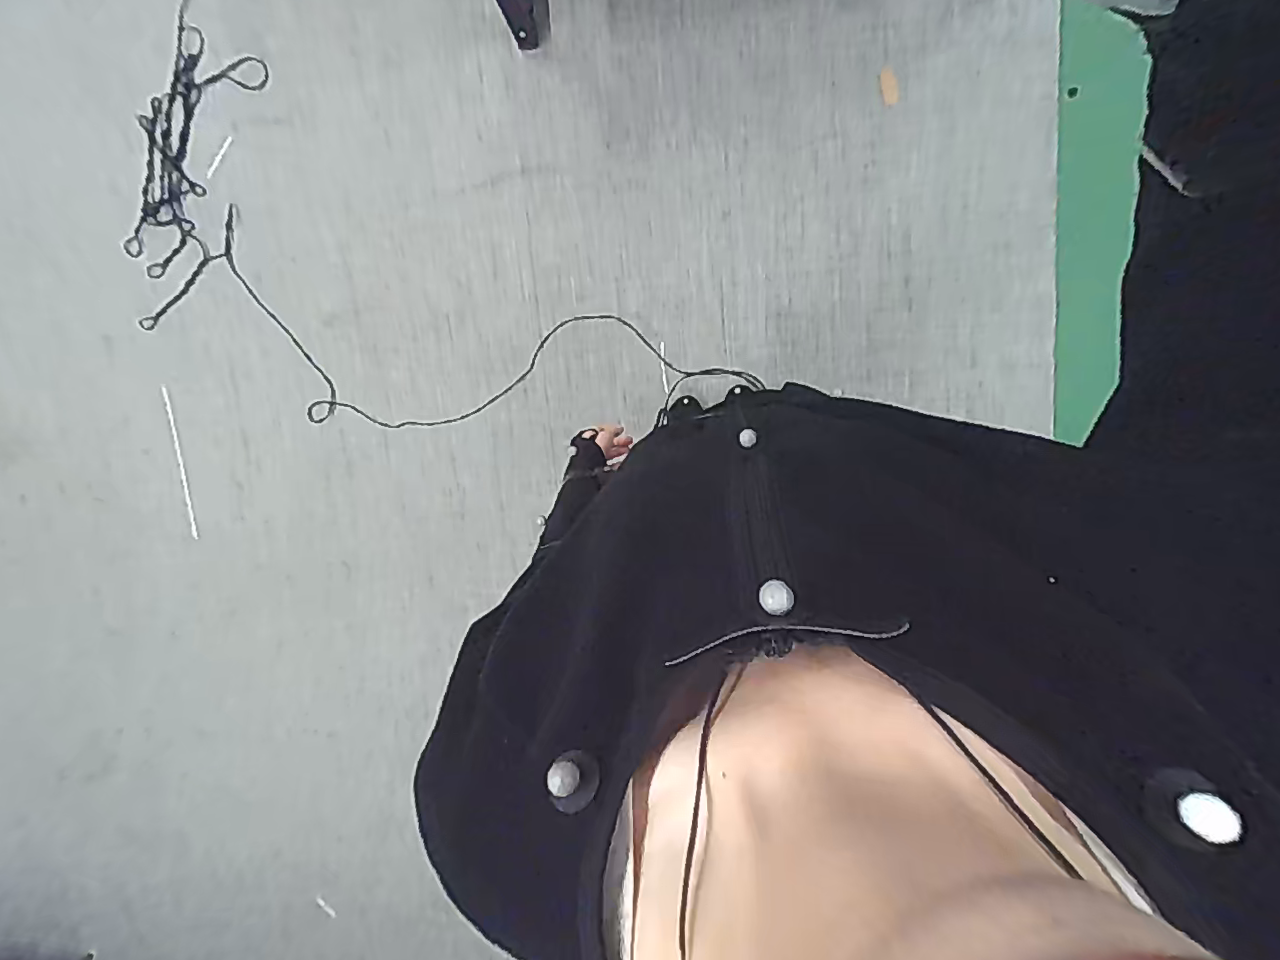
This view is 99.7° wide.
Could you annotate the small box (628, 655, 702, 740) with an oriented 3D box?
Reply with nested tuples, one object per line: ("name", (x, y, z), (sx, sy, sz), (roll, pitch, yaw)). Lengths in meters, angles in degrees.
("small box", (0.073, 0.592, 1.469), (0.179, 0.176, 0.168), (-7, 95, 7))

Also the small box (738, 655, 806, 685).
("small box", (0.353, 0.575, 1.425), (0.168, 0.176, 0.179), (-9, 95, 10))

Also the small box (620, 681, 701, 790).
("small box", (0.055, 0.612, 1.307), (0.168, 0.176, 0.179), (-8, 95, 7))
